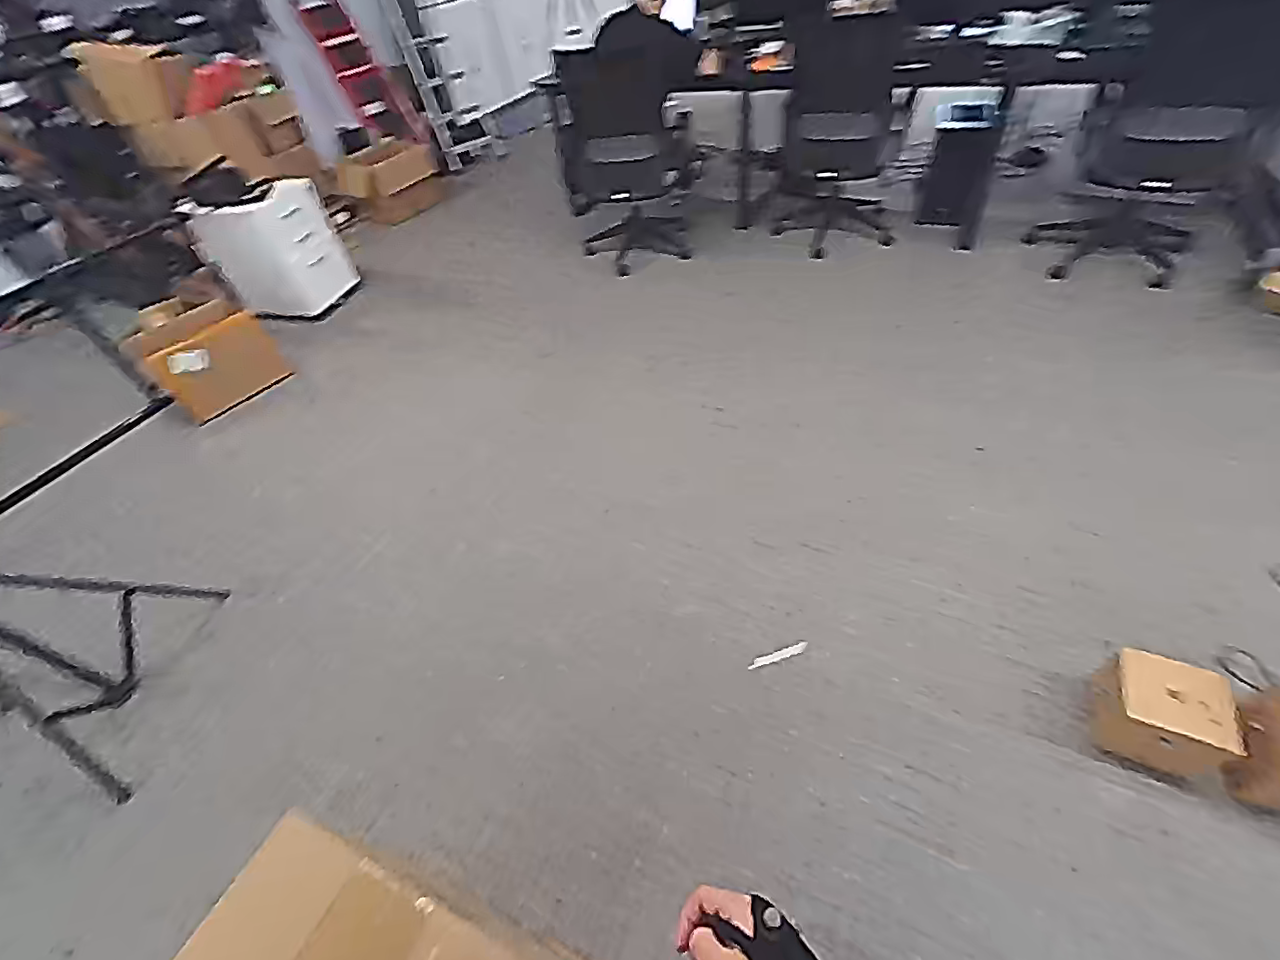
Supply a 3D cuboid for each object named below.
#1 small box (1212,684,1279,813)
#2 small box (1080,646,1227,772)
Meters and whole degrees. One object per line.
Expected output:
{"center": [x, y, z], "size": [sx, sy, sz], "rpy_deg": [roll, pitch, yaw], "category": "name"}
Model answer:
{"center": [1.282, 0.543, 1.067], "size": [0.168, 0.176, 0.179], "rpy_deg": [14, 52, 21], "category": "small box"}
{"center": [1.073, 0.490, 1.151], "size": [0.179, 0.176, 0.168], "rpy_deg": [15, 52, 23], "category": "small box"}
